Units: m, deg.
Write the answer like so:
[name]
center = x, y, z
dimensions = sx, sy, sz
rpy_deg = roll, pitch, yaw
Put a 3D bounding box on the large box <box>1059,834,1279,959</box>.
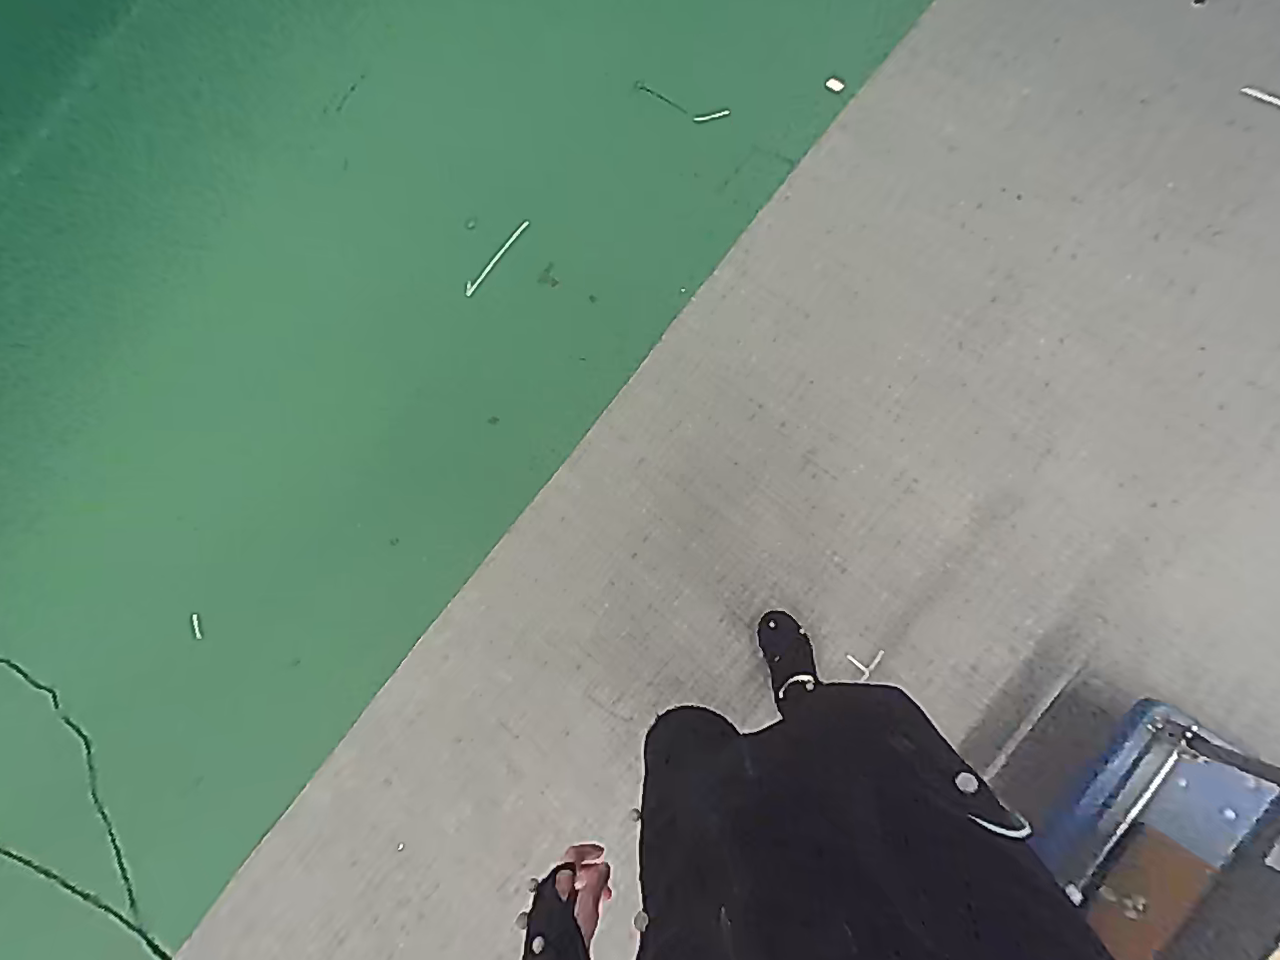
[large box]
center = 0.981, 0.862, 0.820
dimensions = 0.408, 0.320, 0.320
rpy_deg = 35, 89, 17
